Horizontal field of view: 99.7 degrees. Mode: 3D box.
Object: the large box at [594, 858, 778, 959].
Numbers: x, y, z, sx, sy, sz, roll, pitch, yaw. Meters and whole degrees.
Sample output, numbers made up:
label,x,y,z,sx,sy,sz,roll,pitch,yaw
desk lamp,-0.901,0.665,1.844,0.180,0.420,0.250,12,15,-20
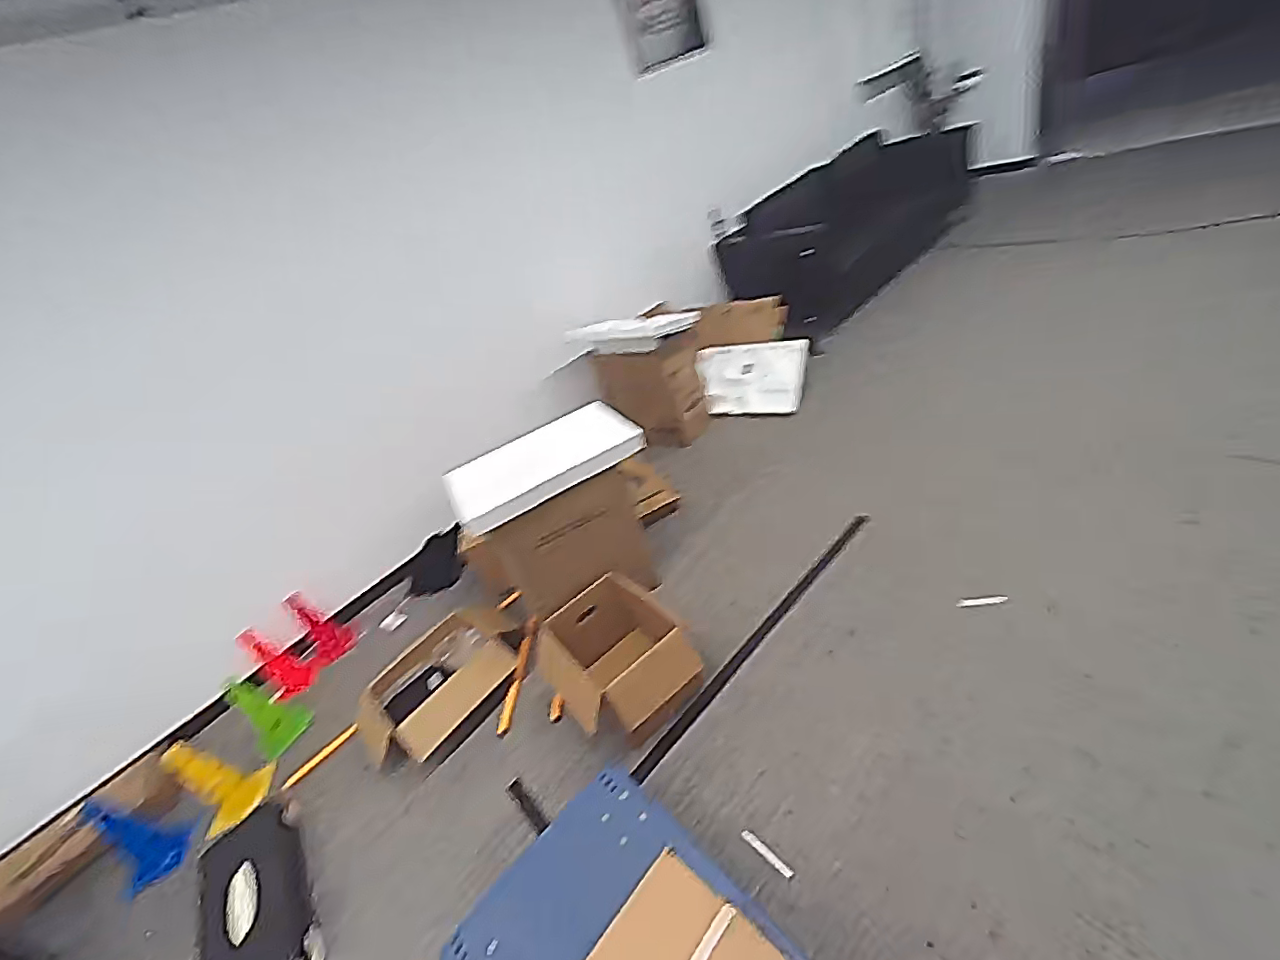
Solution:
label,x,y,z,sx,sy,sz,roll,pitch,yaw
large box,0.067,0.959,0.870,0.320,0.320,0.408,15,45,45
